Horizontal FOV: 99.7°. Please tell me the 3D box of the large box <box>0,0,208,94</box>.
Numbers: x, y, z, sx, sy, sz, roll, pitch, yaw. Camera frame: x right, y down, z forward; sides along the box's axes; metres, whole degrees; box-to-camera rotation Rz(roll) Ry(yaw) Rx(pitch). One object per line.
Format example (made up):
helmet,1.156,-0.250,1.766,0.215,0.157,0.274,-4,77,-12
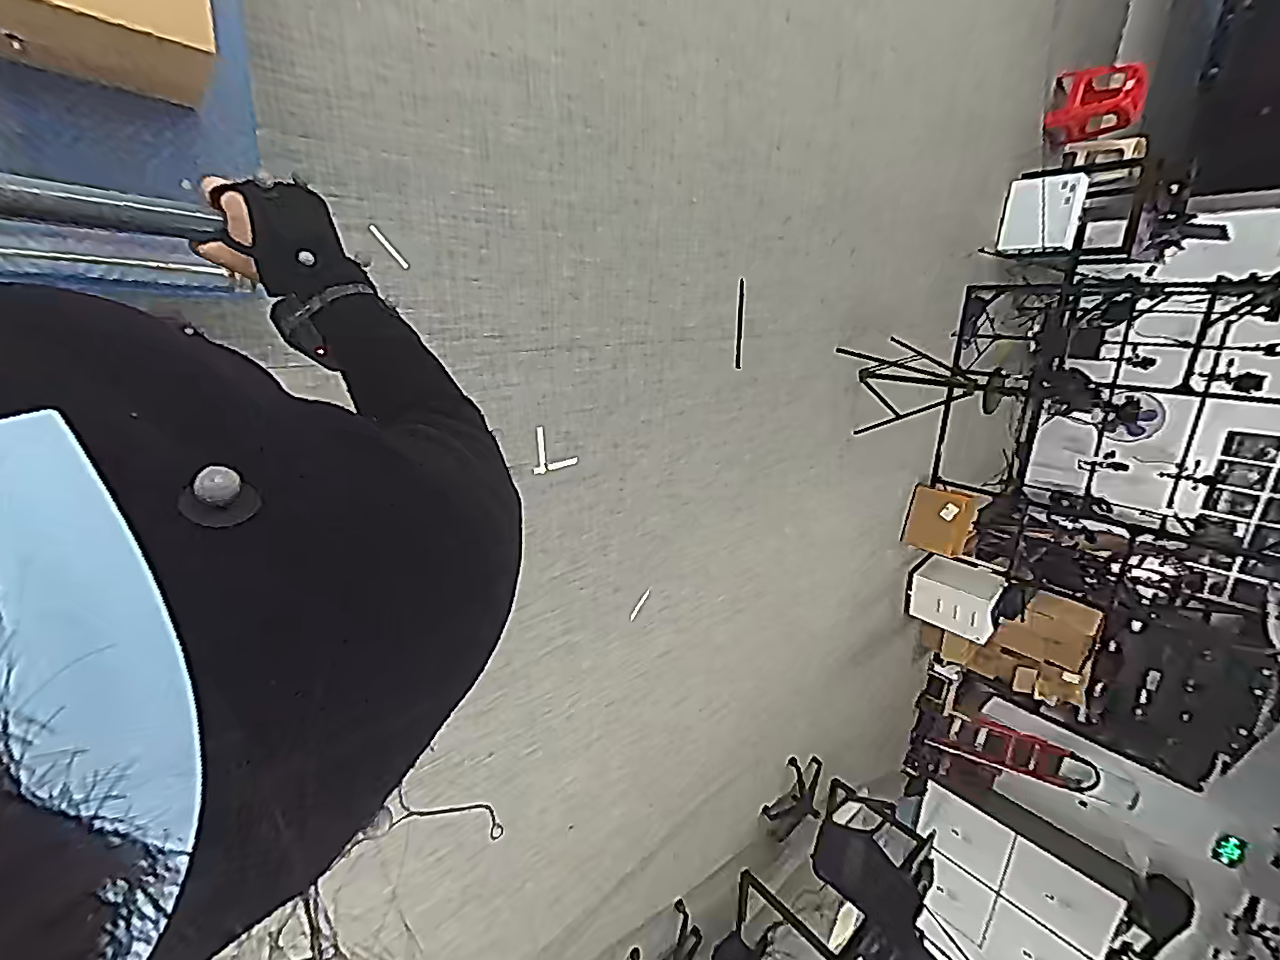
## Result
large box,-0.819,-0.744,0.667,0.408,0.320,0.320,-9,110,-40
